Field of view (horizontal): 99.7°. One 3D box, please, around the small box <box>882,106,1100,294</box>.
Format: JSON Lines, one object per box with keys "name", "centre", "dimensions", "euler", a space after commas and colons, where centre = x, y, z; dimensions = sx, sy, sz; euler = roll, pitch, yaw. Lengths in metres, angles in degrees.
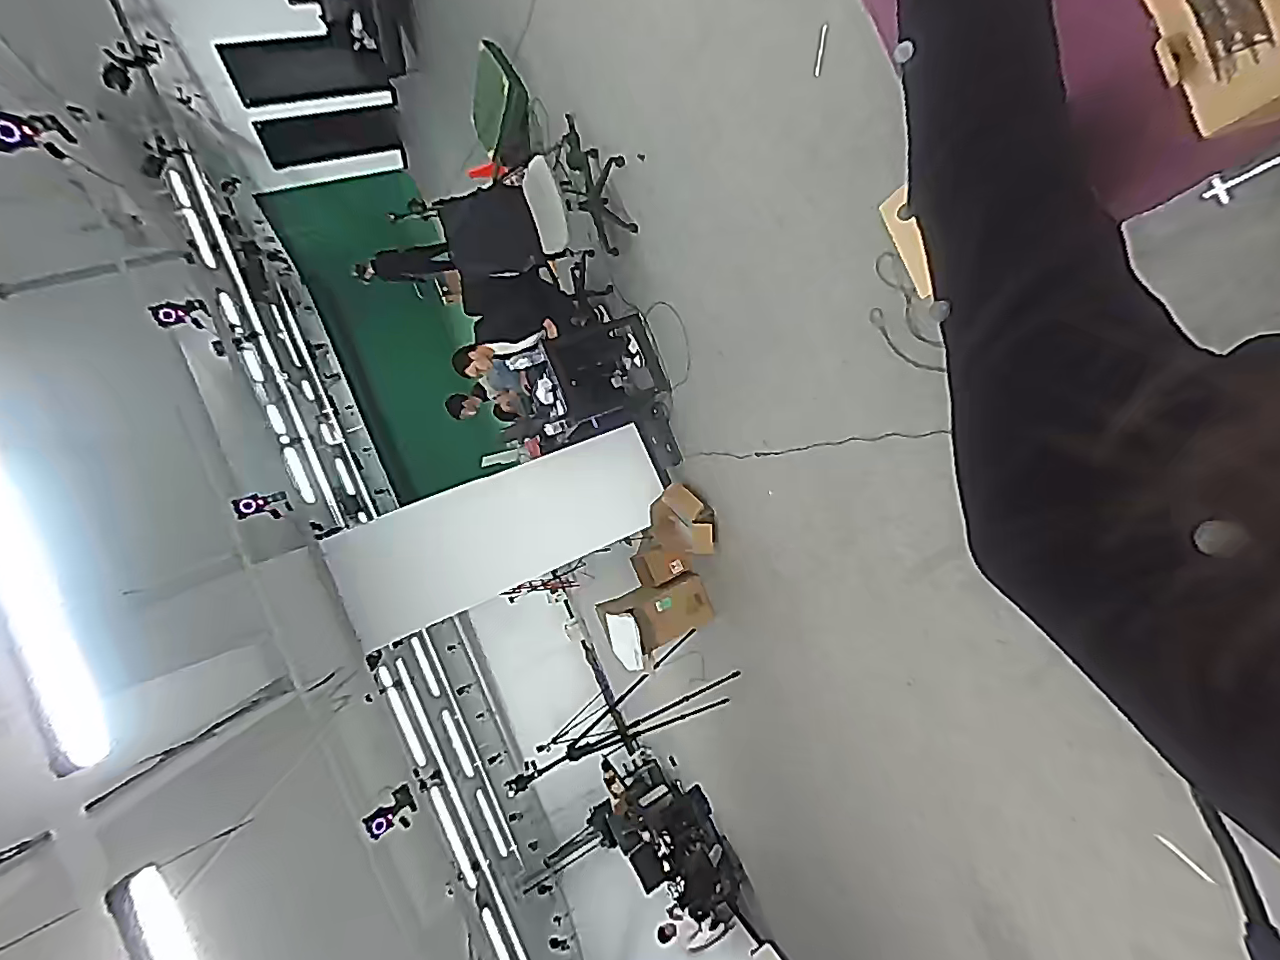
{"name": "small box", "centre": [0.504, -0.402, 0.790], "dimensions": [0.168, 0.176, 0.179], "euler": [66, 160, 2]}
